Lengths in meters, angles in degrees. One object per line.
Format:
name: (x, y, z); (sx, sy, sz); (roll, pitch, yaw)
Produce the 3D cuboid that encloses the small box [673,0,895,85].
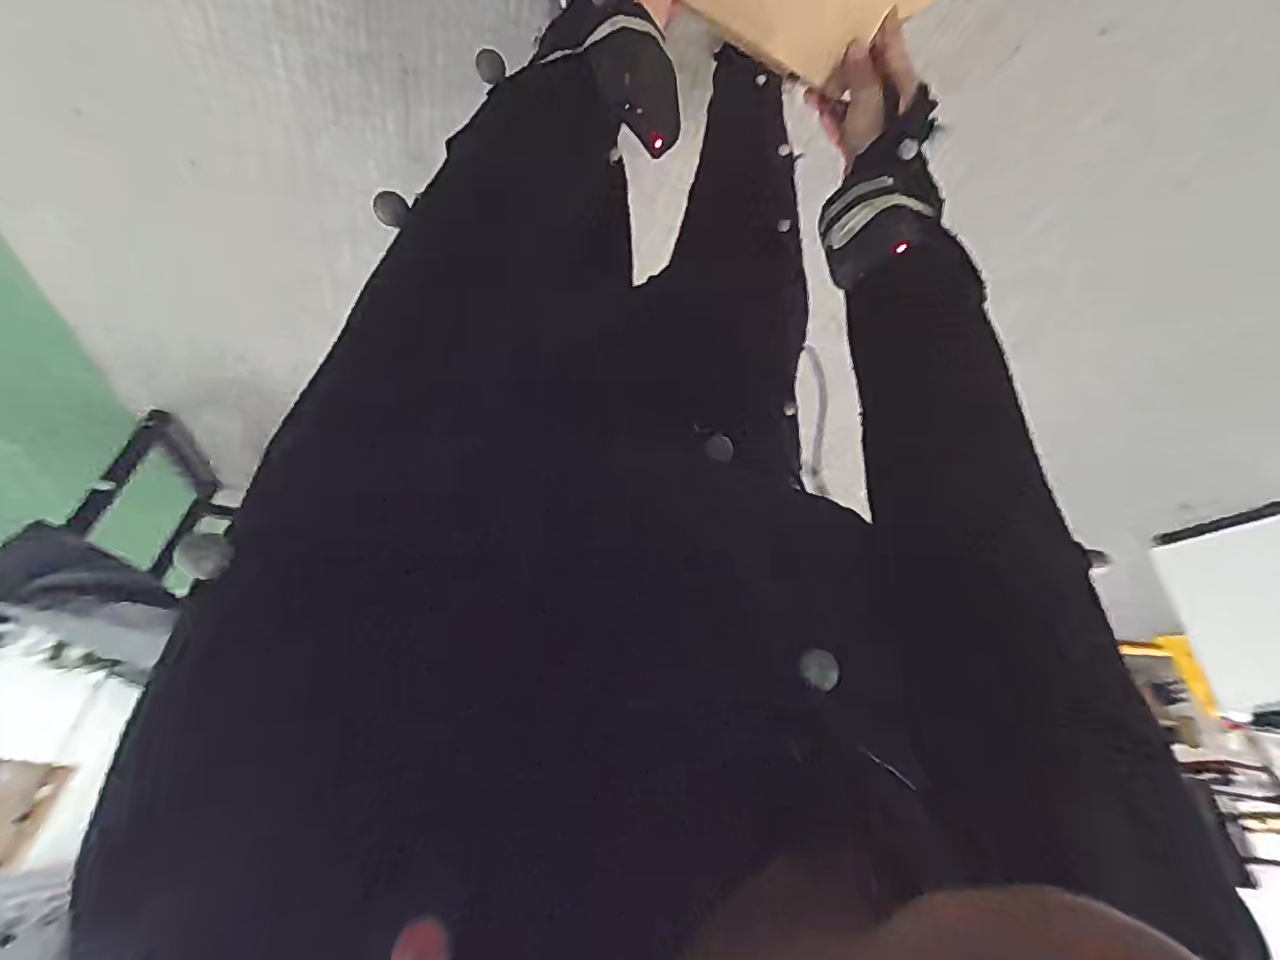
small box: (0.120, -0.449, 0.427); (0.179, 0.176, 0.168); (19, 128, -15)
